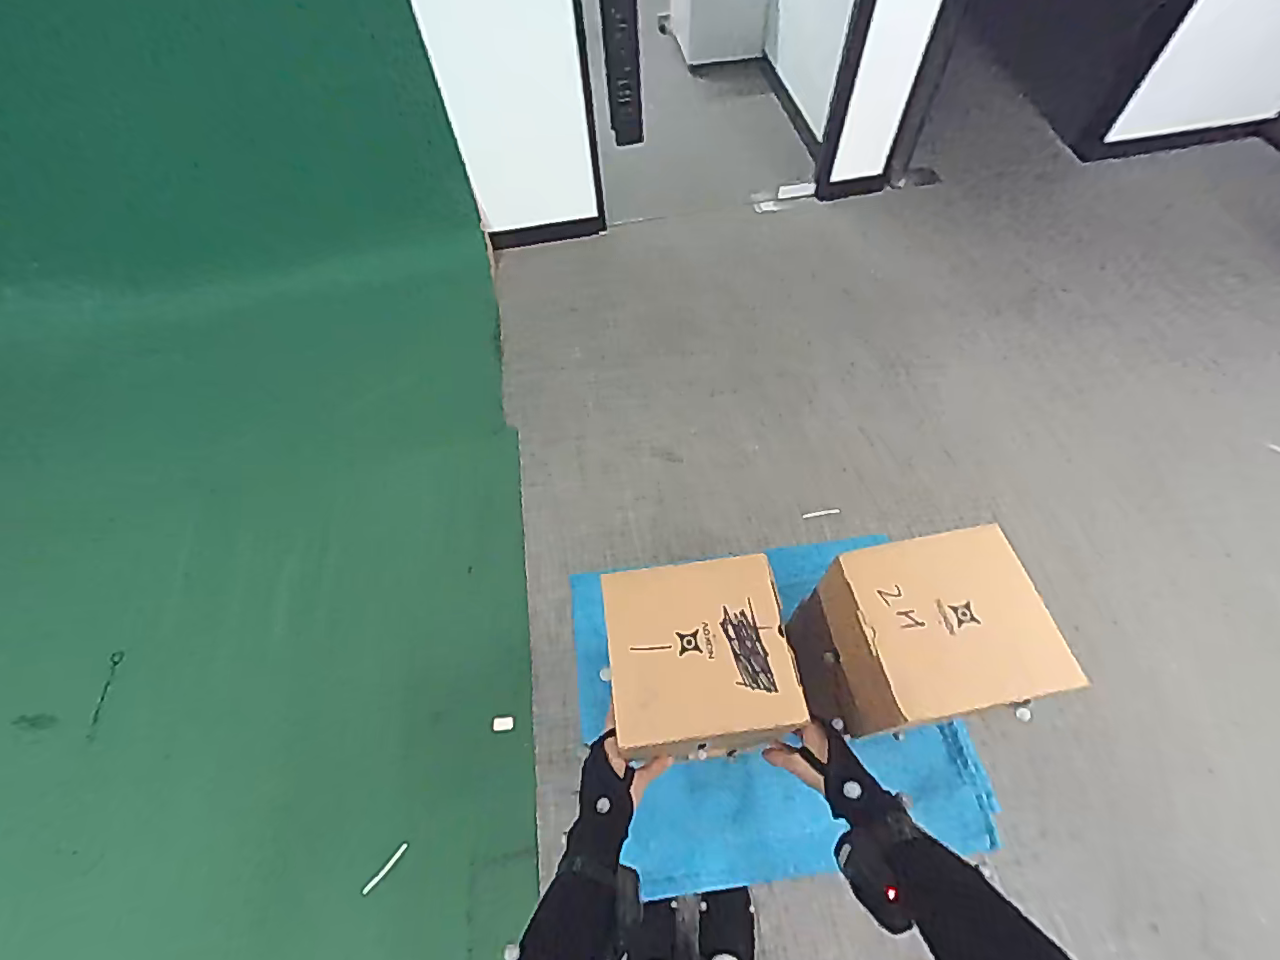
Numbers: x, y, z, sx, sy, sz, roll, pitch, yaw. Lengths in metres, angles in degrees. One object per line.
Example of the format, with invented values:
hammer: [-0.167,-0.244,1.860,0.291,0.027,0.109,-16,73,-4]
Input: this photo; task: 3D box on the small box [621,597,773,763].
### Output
small box: [0.067,0.274,0.724,0.168,0.176,0.179,-6,58,-2]

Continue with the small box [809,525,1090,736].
small box: [0.304,0.167,0.579,0.179,0.176,0.168,-10,59,-1]
